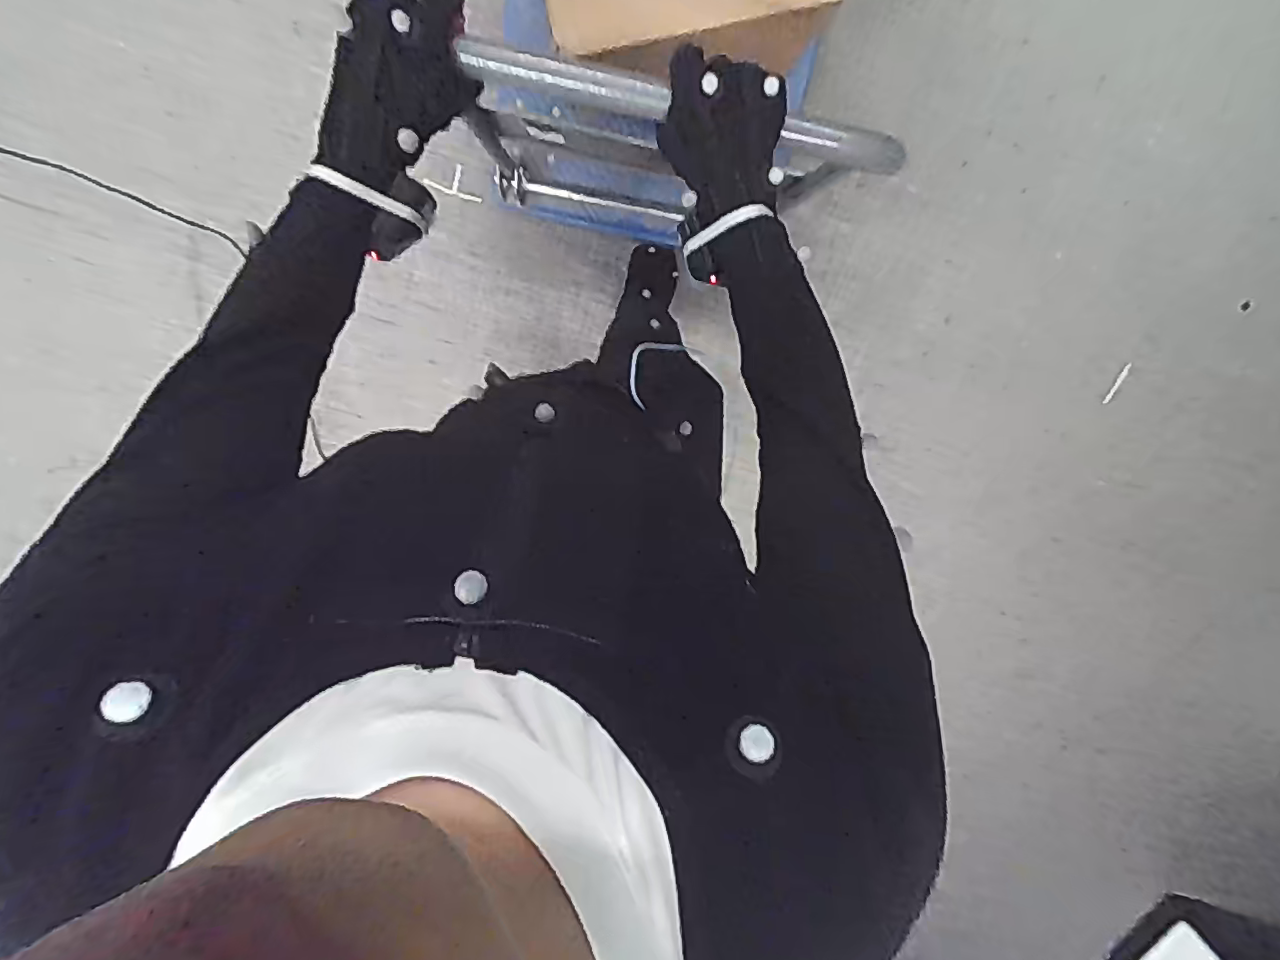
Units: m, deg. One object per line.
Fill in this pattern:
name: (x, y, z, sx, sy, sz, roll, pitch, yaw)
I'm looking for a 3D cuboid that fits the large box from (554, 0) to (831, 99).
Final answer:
large box: (0.061, -0.837, 0.826, 0.408, 0.320, 0.320, -9, 111, 3)
